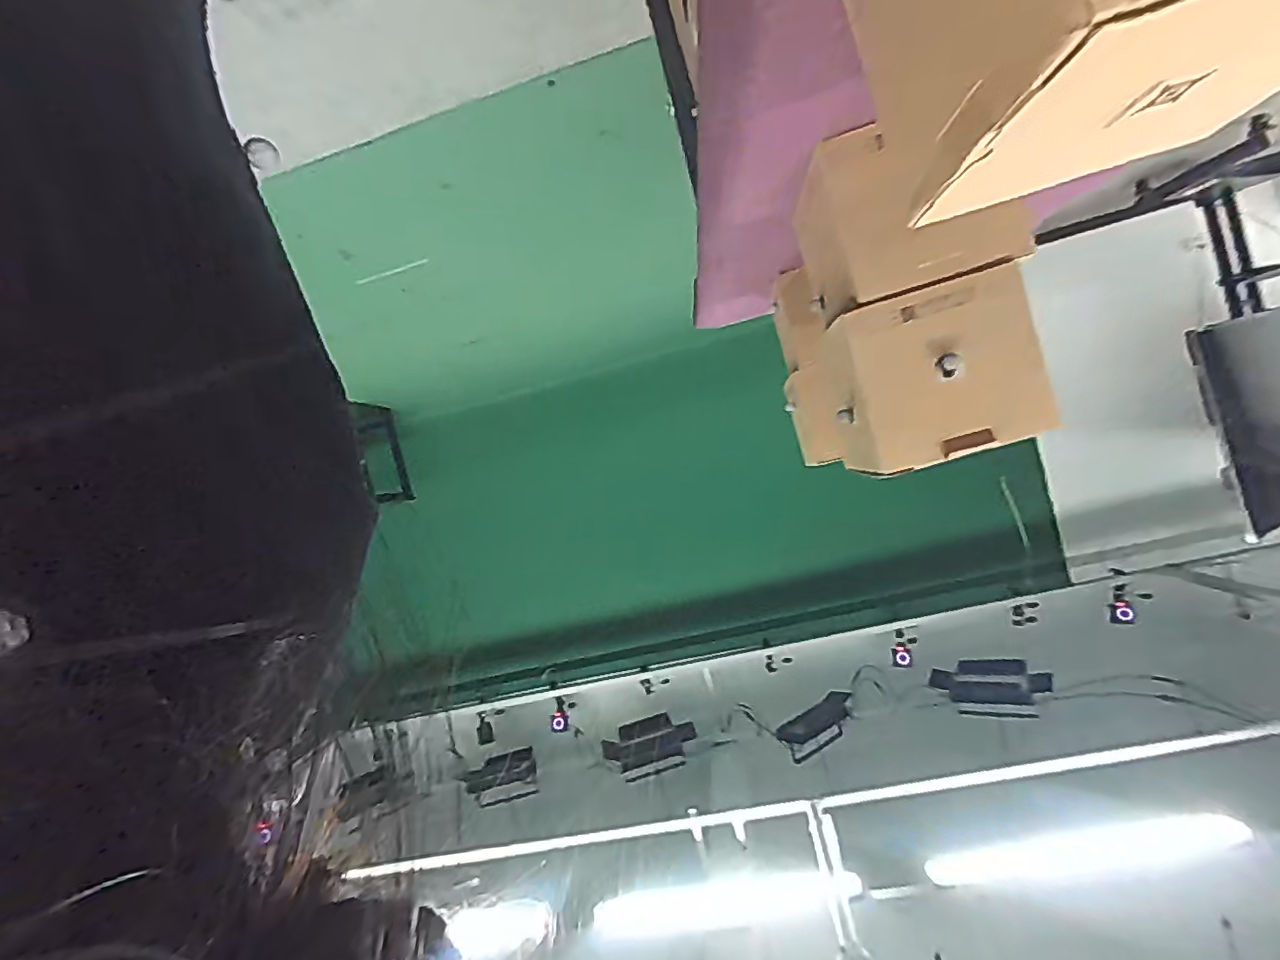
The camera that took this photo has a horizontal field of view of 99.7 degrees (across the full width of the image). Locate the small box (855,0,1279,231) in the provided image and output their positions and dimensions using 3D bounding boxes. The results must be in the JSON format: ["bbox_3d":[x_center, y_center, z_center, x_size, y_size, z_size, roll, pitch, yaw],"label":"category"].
[{"bbox_3d":[0.221,-0.252,0.247,0.179,0.176,0.168,-15,-179,7],"label":"small box"}]

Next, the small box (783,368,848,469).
[{"bbox_3d":[0.373,-0.124,0.973,0.179,0.176,0.168,-16,178,10],"label":"small box"}]

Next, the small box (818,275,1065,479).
[{"bbox_3d":[0.307,-0.105,0.592,0.168,0.176,0.179,-15,180,10],"label":"small box"}]

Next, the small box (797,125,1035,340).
[{"bbox_3d":[0.281,-0.268,0.594,0.168,0.176,0.179,-16,180,9],"label":"small box"}]

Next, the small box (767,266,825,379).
[{"bbox_3d":[0.339,-0.285,0.956,0.179,0.176,0.168,-16,179,10],"label":"small box"}]
